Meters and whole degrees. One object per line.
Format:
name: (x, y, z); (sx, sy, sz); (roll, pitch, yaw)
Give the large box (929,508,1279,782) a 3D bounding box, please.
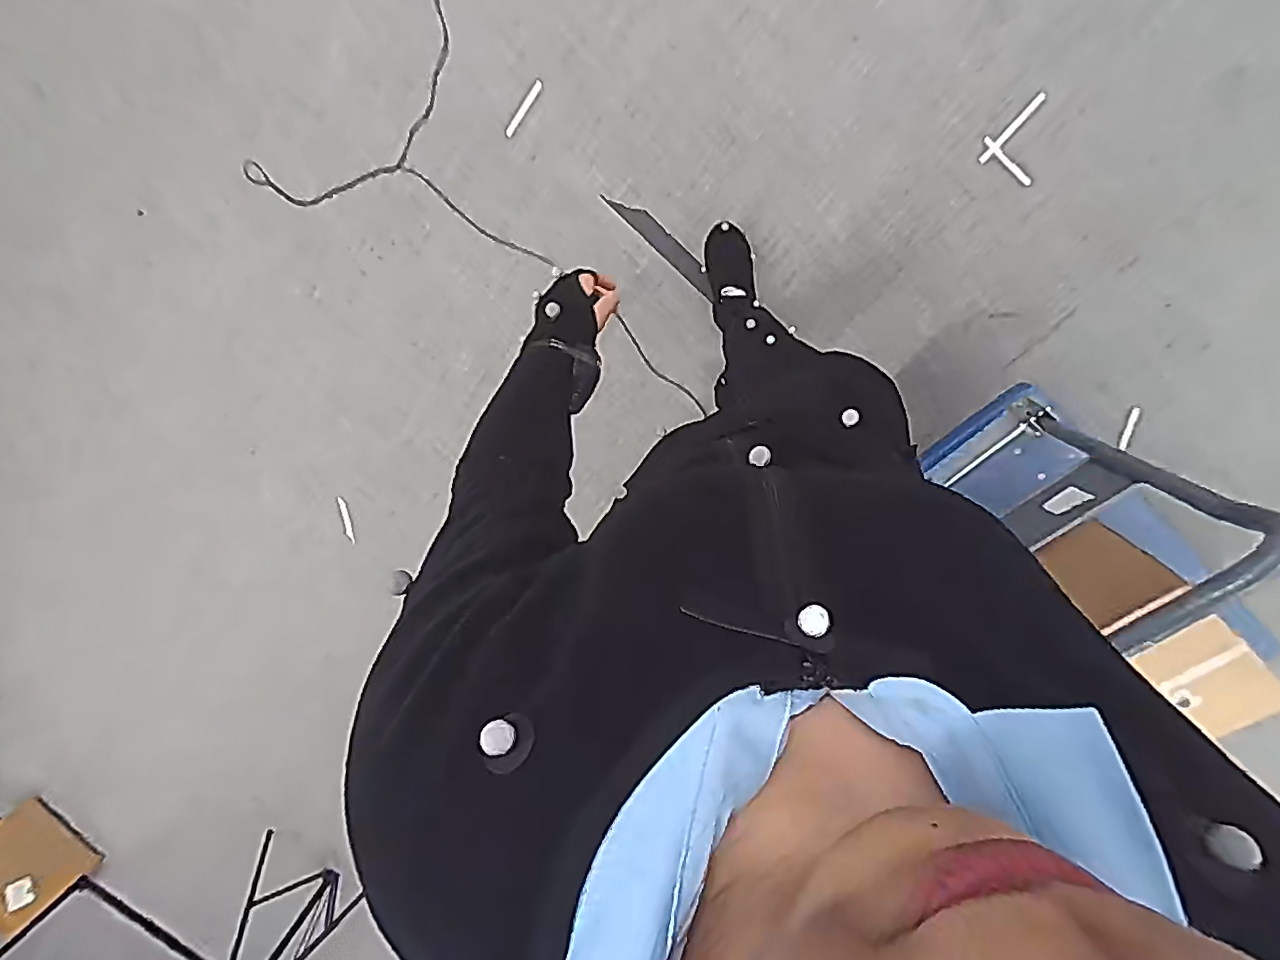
large box: (0.925, 0.335, 1.153); (0.320, 0.320, 0.408); (44, 111, -6)
